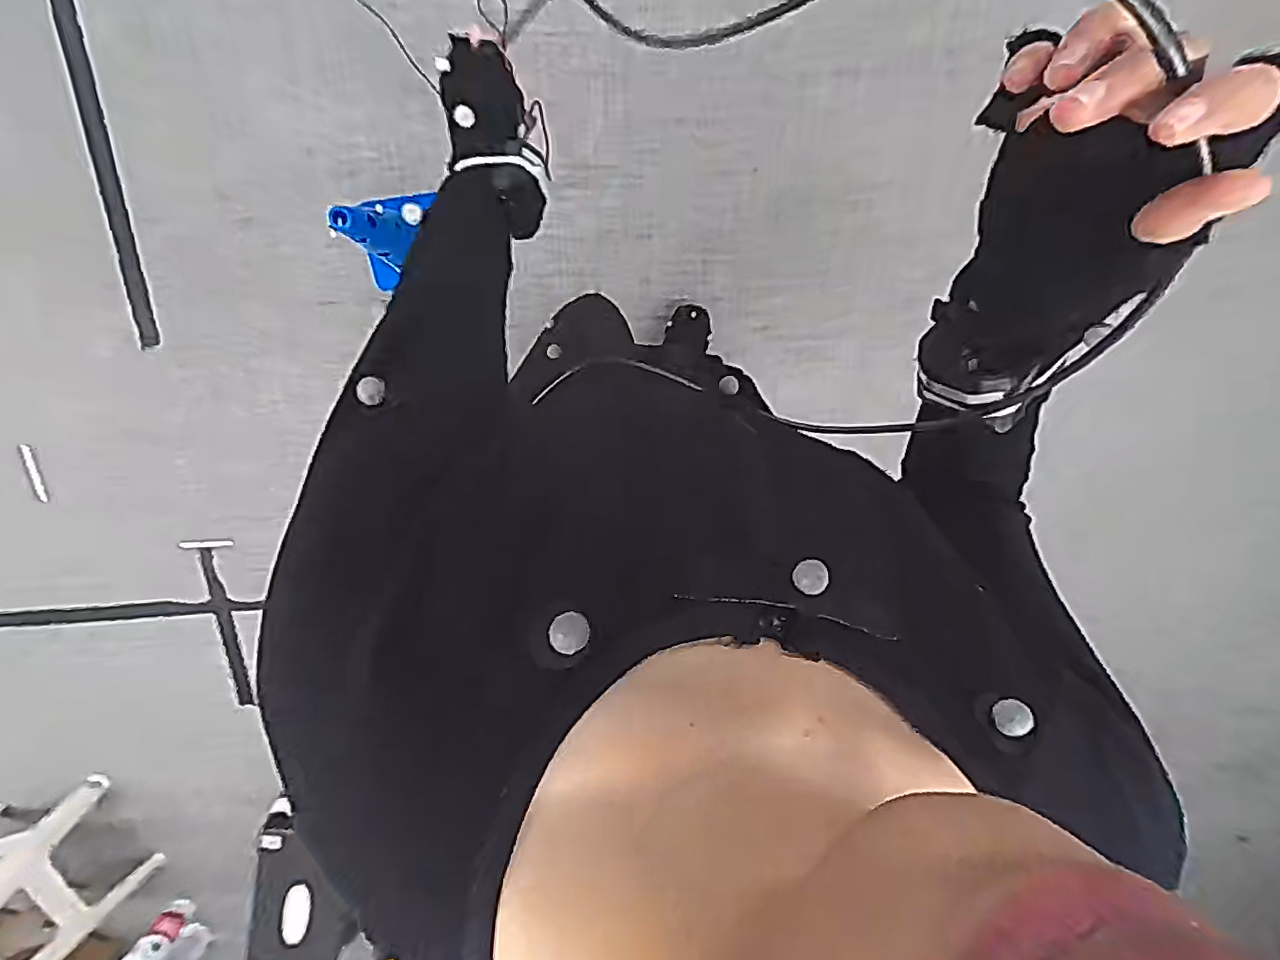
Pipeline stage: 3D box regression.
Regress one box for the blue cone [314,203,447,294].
[{"bbox_3d":[-0.558,-0.505,1.132,0.192,0.380,0.193,-7,107,-1],"label":"blue cone"}]
